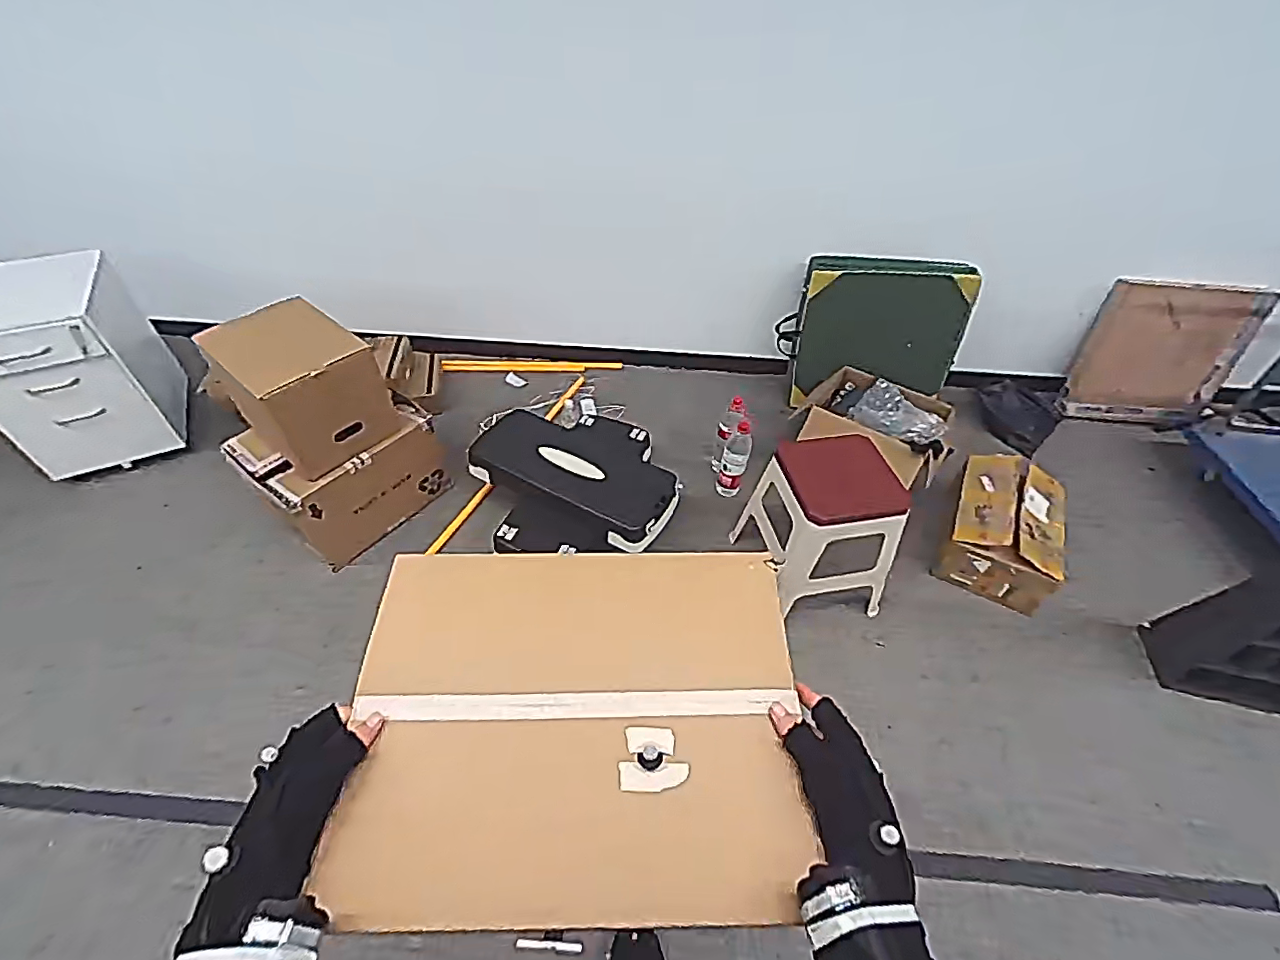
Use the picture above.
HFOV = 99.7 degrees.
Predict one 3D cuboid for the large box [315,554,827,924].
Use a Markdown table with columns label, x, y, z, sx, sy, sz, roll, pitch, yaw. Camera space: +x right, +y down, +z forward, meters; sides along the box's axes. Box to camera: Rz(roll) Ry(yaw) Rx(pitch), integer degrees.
| label | x | y | z | sx | sy | sz | roll | pitch | yaw |
| --- | --- | --- | --- | --- | --- | --- | --- | --- | --- |
| large box | -0.058 | 0.295 | 0.621 | 0.408 | 0.320 | 0.320 | 0 | 54 | -1 |
